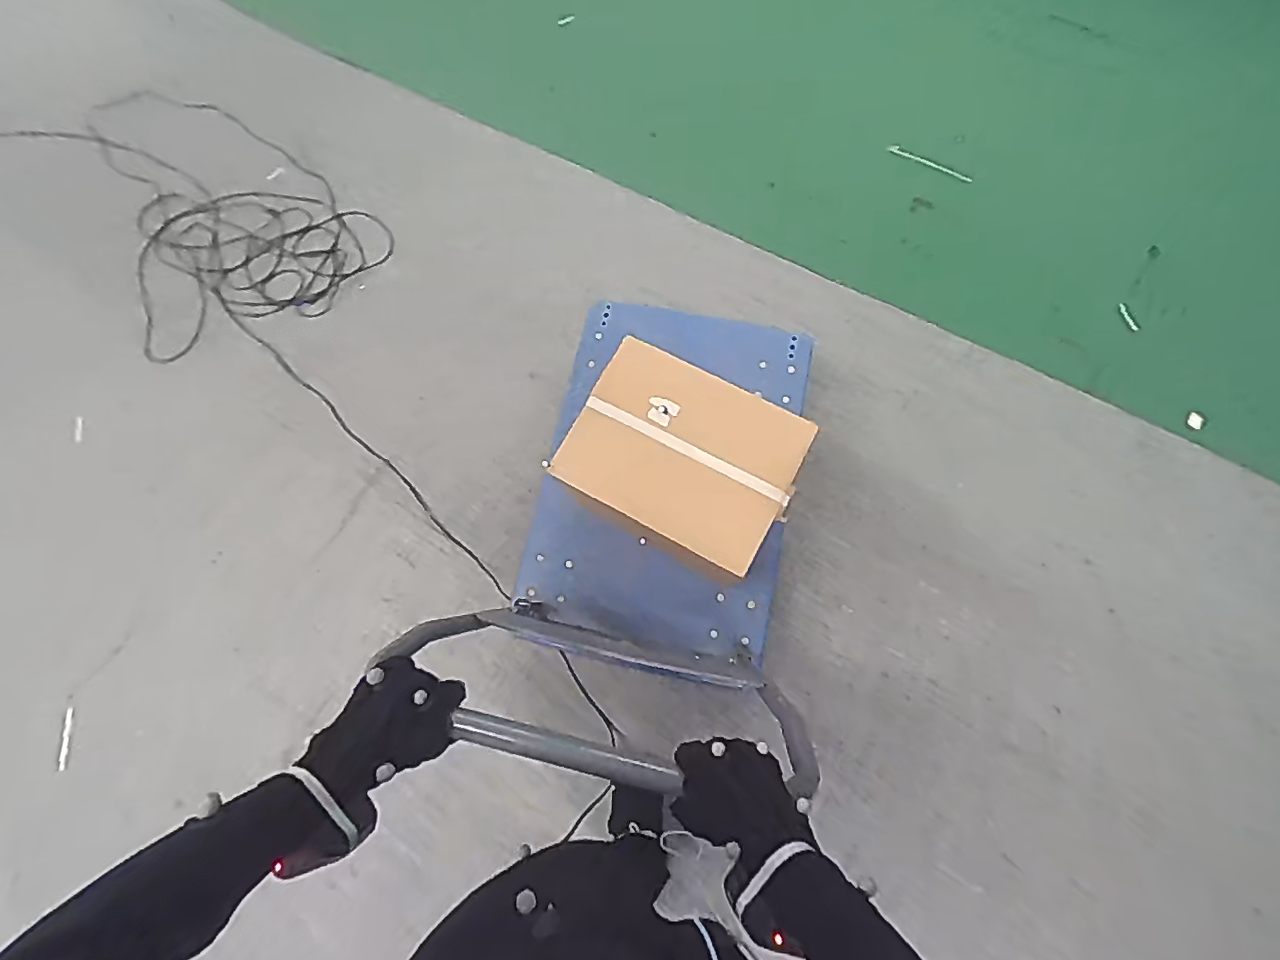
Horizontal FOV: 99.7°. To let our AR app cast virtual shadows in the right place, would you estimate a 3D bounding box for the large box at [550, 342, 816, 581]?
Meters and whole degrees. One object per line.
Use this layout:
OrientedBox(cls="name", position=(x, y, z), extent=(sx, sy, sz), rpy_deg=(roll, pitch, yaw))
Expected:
OrientedBox(cls="large box", position=(0.090, -0.017, 1.126), extent=(0.408, 0.320, 0.320), rpy_deg=(27, 79, 11))
